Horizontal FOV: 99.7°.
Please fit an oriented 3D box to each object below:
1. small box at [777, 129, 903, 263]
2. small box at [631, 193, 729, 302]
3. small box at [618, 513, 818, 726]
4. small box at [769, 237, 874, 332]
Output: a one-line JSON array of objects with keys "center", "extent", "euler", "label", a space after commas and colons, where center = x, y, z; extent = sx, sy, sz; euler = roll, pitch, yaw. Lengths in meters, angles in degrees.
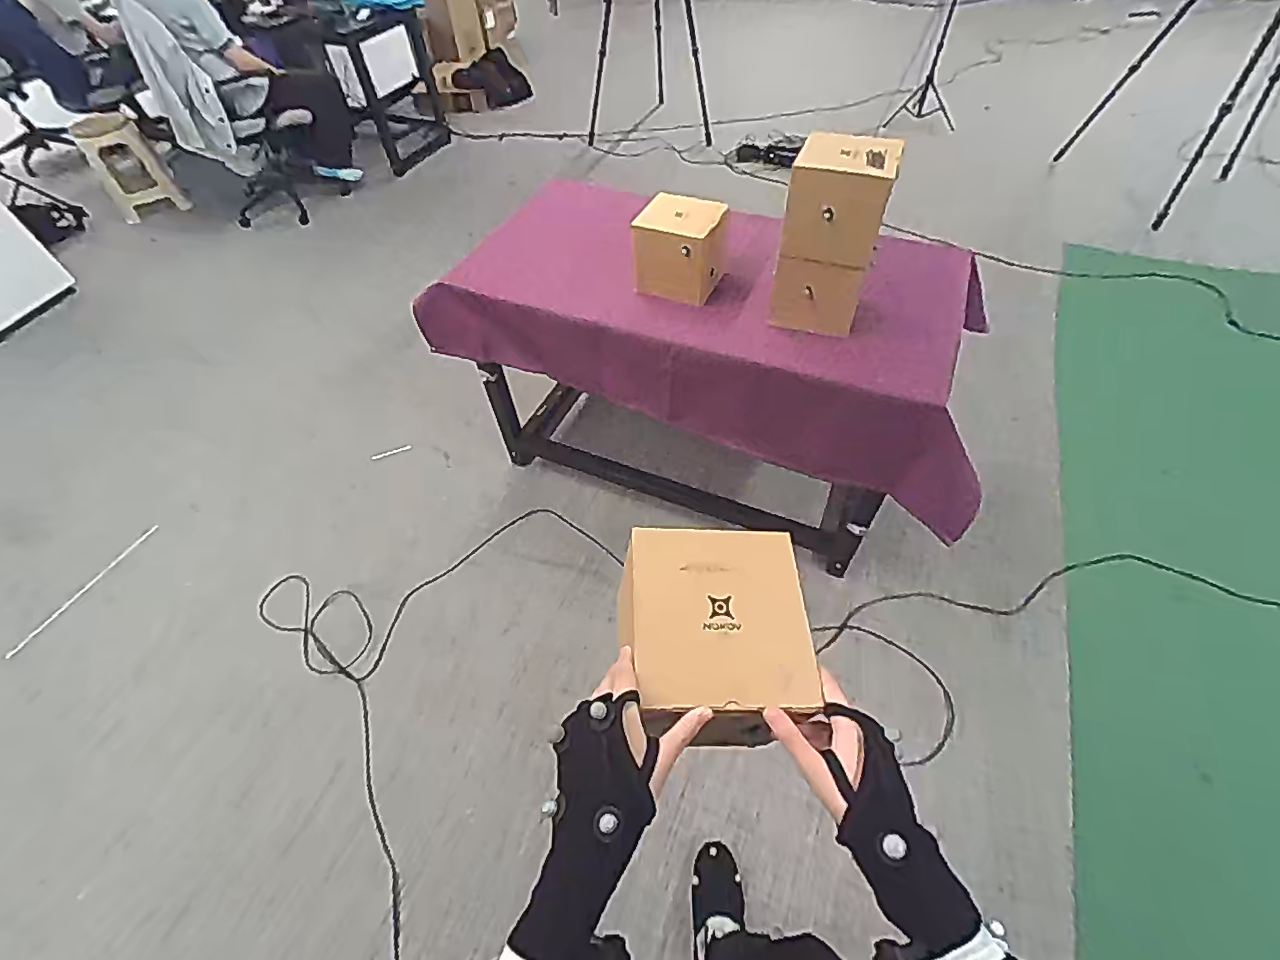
[{"center": [0.378, -0.541, 1.037], "extent": [0.179, 0.176, 0.168], "euler": [17, 54, 16], "label": "small box"}, {"center": [0.094, -0.543, 1.270], "extent": [0.179, 0.176, 0.168], "euler": [19, 55, 17], "label": "small box"}, {"center": [0.066, 0.154, 0.571], "extent": [0.168, 0.176, 0.179], "euler": [3, 54, -6], "label": "small box"}, {"center": [0.388, -0.442, 1.168], "extent": [0.179, 0.176, 0.168], "euler": [16, 55, 16], "label": "small box"}]
